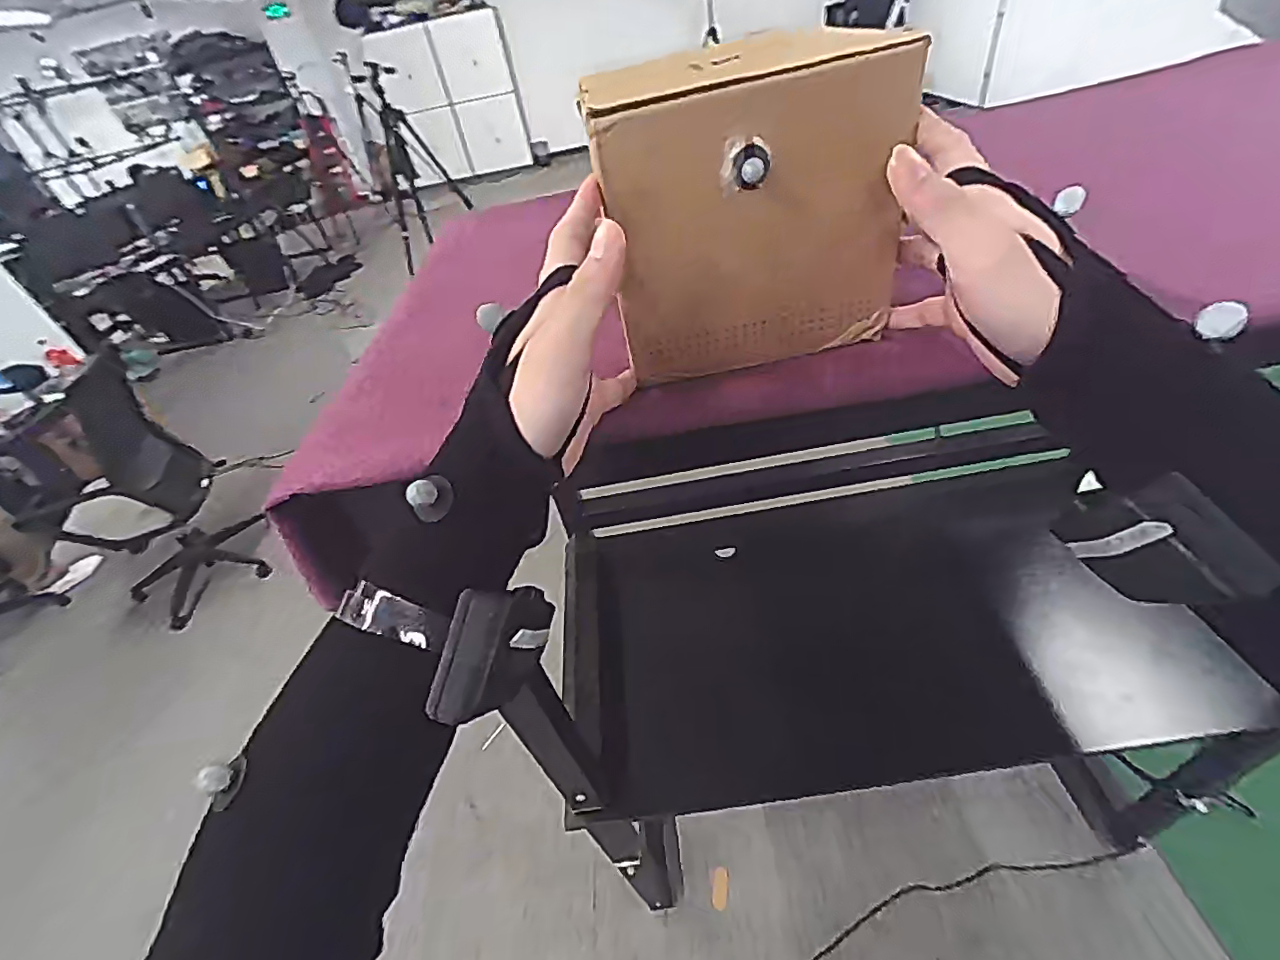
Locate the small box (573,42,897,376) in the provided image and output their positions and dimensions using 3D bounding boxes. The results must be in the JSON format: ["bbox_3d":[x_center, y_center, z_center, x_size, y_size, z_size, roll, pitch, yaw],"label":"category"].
[{"bbox_3d":[0.058,-0.193,0.393,0.179,0.176,0.168,-10,41,2],"label":"small box"}]
